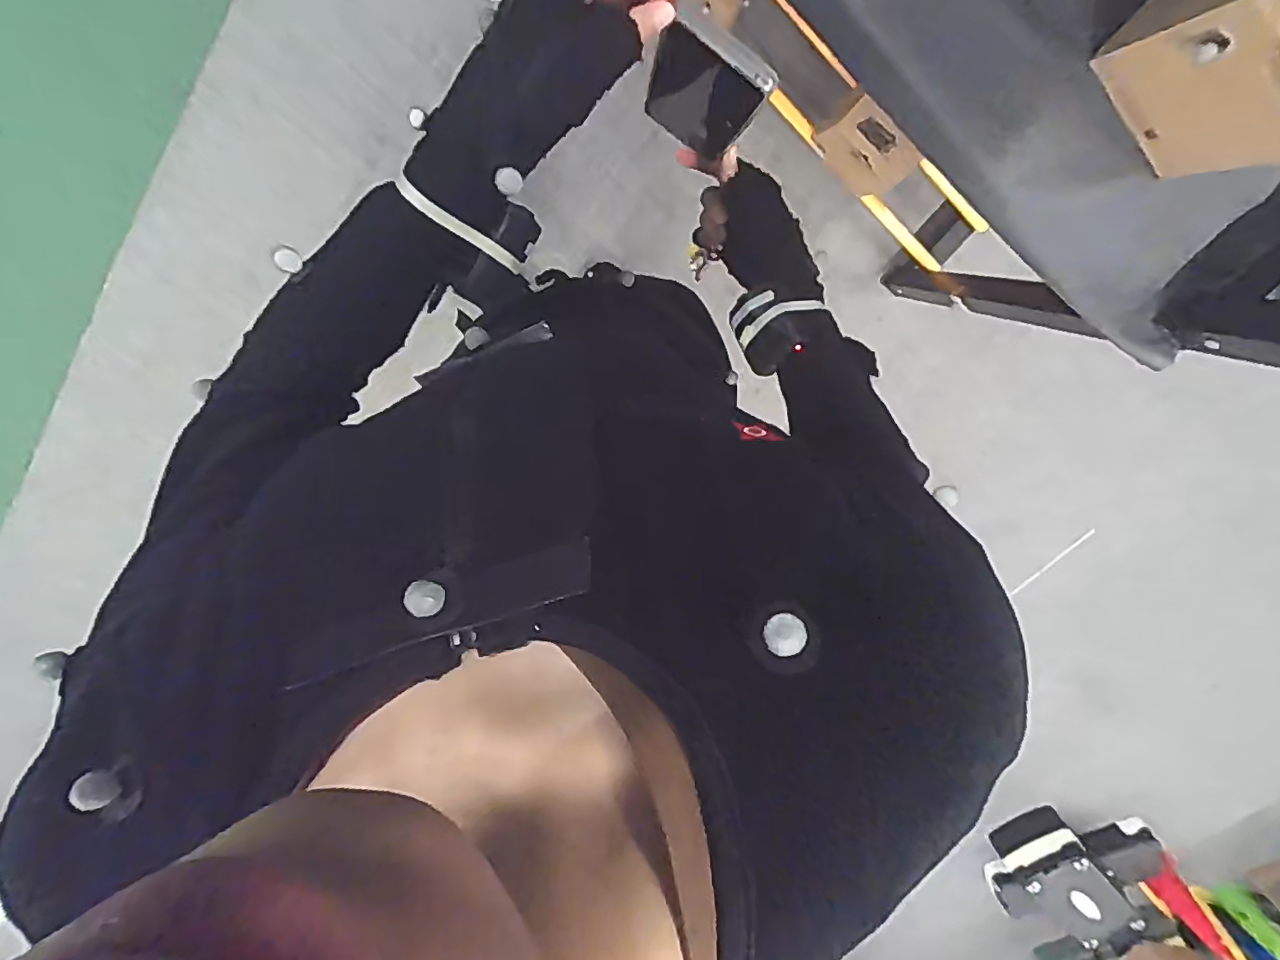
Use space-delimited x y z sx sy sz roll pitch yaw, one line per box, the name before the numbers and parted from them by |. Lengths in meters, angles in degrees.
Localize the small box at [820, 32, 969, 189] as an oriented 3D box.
small box | 0.473 -0.690 1.040 0.168 0.176 0.179 39 108 -18
